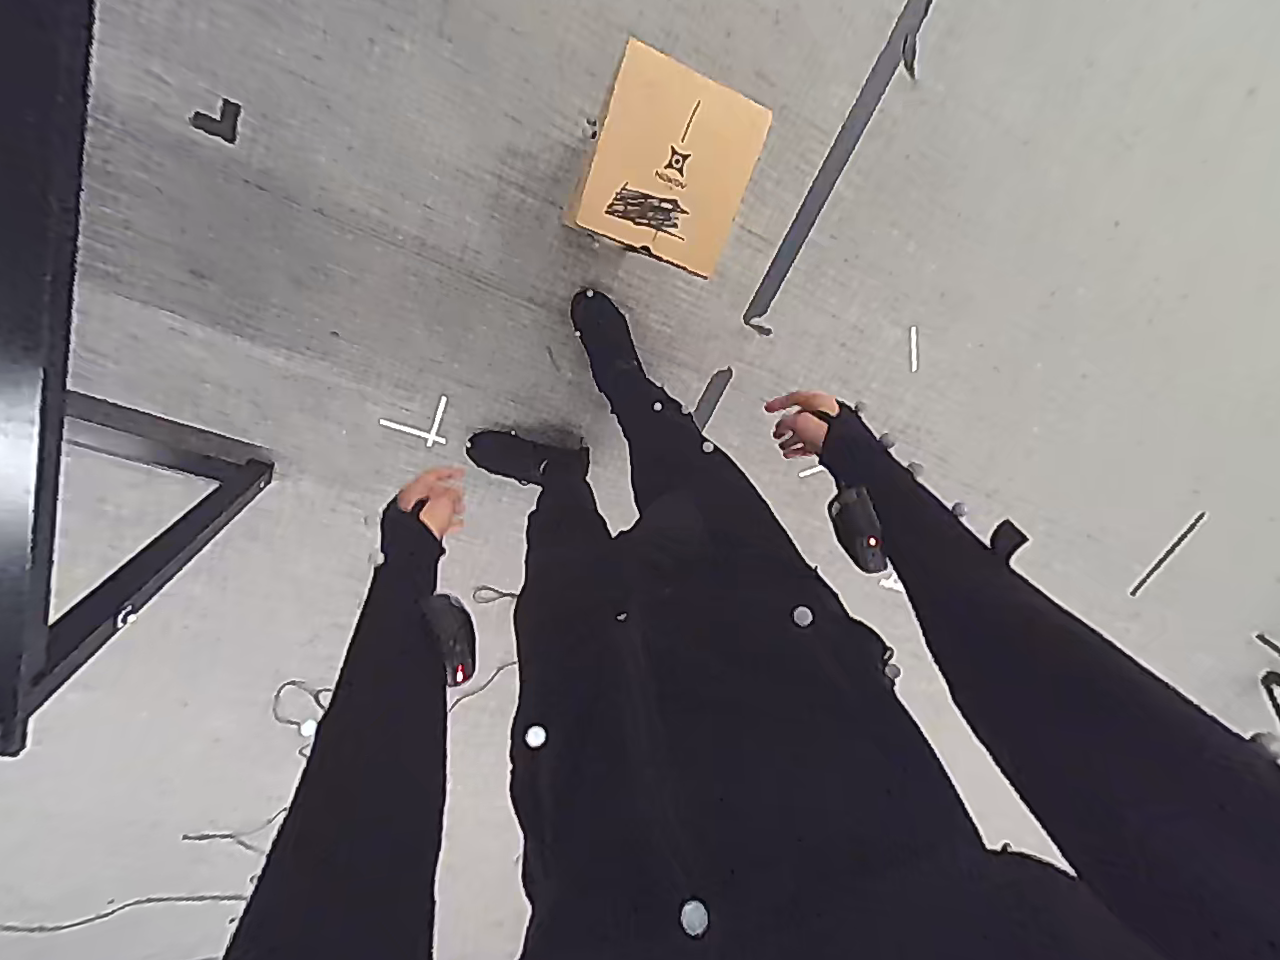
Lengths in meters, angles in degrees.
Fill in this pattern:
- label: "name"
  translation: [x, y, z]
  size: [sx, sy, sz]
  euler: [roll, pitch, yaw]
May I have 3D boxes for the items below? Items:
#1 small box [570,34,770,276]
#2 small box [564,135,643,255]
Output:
- label: "small box"
  translation: [0.020, -0.362, 0.635]
  size: [0.168, 0.176, 0.179]
  euler: [15, 112, -17]
- label: "small box"
  translation: [-0.049, -0.571, 1.074]
  size: [0.168, 0.176, 0.179]
  euler: [17, 112, -17]
